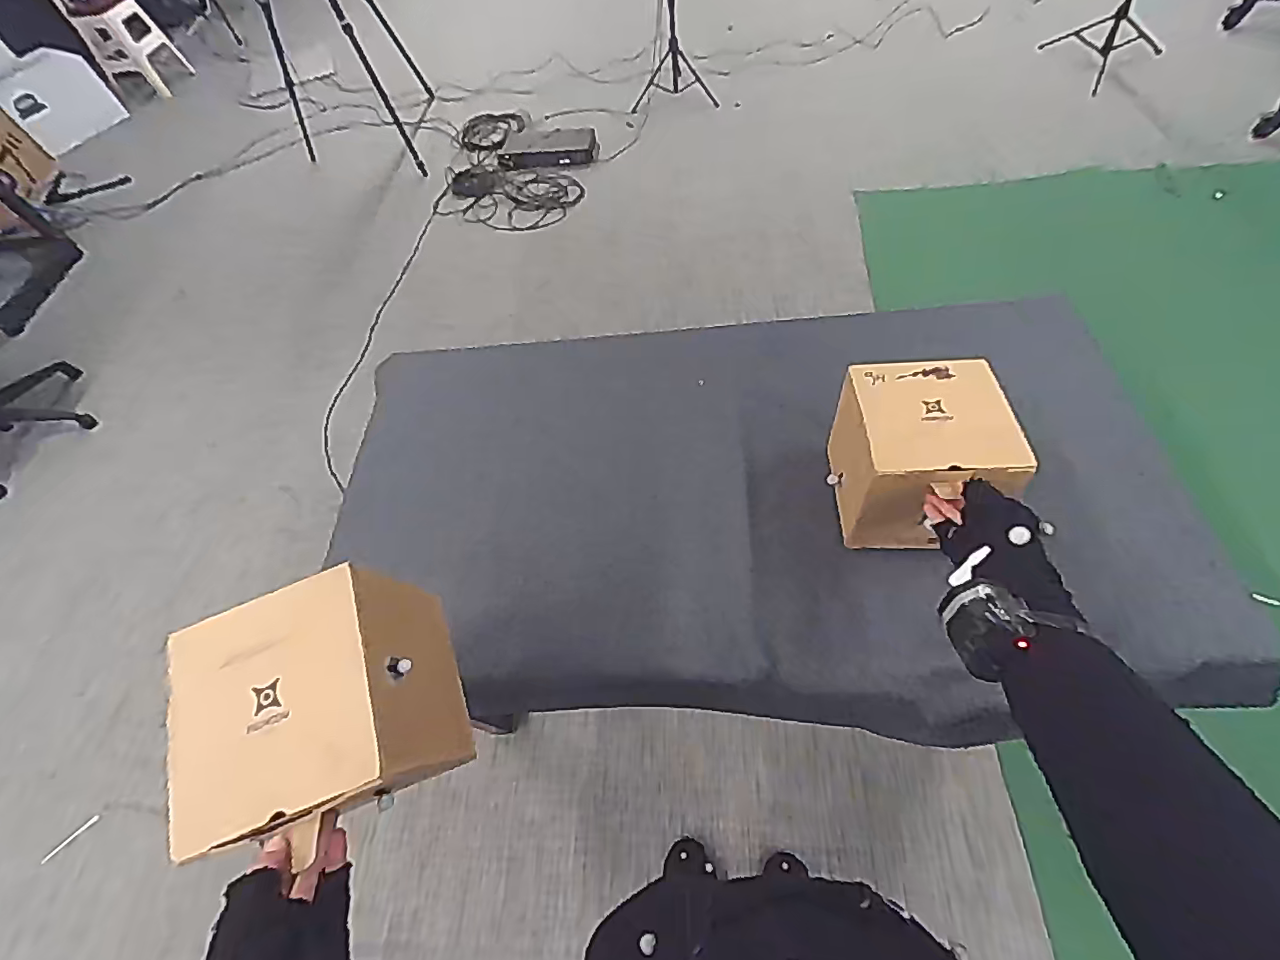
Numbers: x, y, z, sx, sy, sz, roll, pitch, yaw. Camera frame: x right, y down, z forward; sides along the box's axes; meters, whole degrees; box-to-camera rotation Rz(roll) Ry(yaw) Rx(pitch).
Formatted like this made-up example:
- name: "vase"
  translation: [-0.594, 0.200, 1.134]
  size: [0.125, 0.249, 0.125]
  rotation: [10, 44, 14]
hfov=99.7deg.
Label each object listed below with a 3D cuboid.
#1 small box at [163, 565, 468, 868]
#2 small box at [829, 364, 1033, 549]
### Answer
- name: "small box"
  translation: [-0.276, 0.202, 0.489]
  size: [0.168, 0.176, 0.179]
  rotation: [-22, 66, -2]
- name: "small box"
  translation: [0.348, -0.024, 0.689]
  size: [0.168, 0.176, 0.179]
  rotation: [0, 53, 6]
